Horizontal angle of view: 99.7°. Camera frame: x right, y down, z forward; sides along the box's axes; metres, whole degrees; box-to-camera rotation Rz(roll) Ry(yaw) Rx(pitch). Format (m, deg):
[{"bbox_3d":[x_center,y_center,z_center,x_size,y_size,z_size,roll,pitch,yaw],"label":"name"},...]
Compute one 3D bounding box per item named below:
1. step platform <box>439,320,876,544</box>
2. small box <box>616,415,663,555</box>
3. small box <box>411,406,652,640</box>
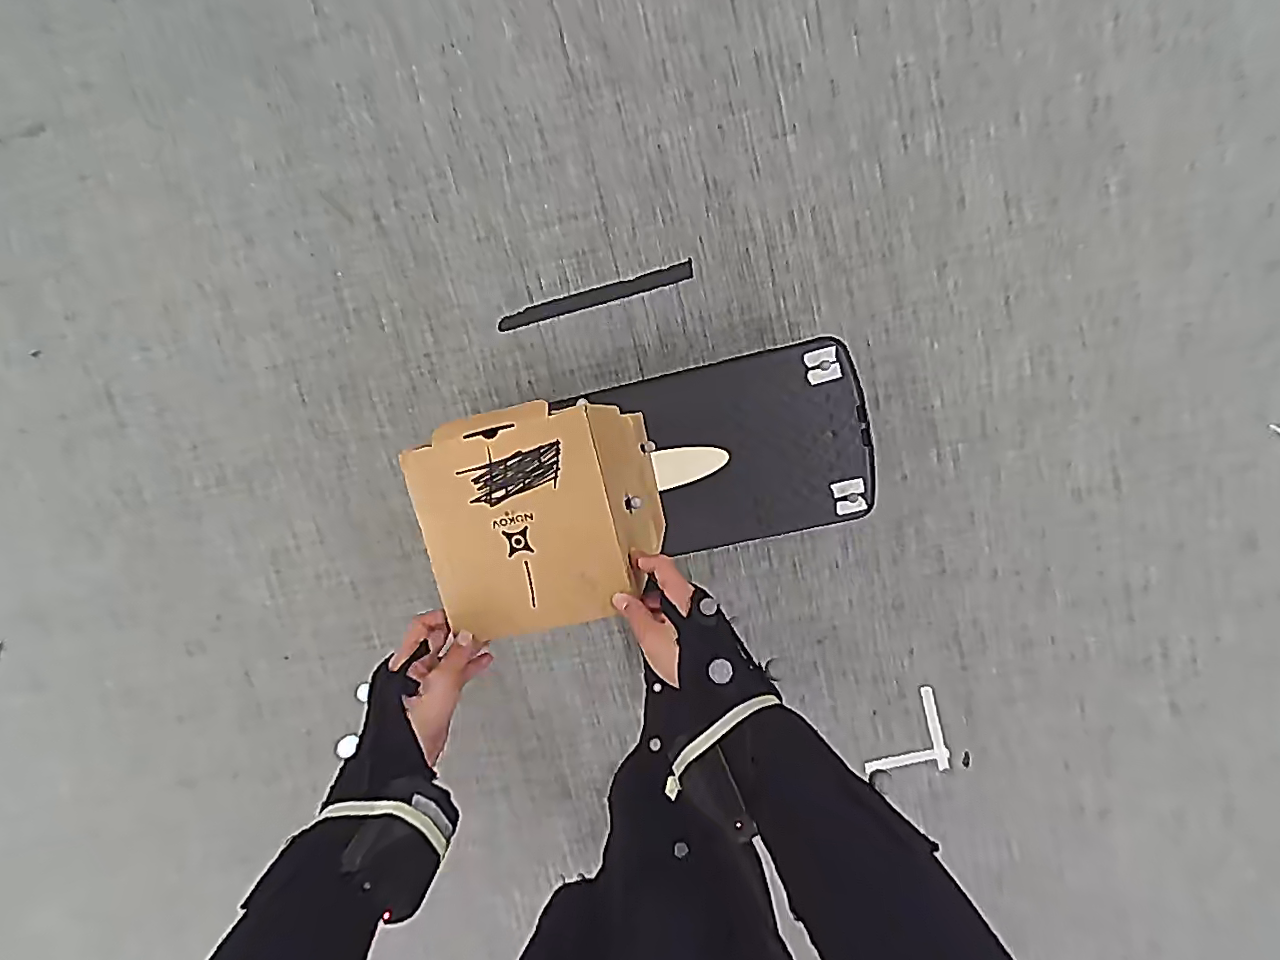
[{"bbox_3d":[0.025,-0.046,0.903,0.684,0.204,0.286,-13,96,6],"label":"step platform"},{"bbox_3d":[-0.065,0.012,0.742,0.168,0.176,0.179,-11,97,6],"label":"small box"},{"bbox_3d":[-0.089,0.031,0.533,0.168,0.176,0.179,-12,96,8],"label":"small box"}]
